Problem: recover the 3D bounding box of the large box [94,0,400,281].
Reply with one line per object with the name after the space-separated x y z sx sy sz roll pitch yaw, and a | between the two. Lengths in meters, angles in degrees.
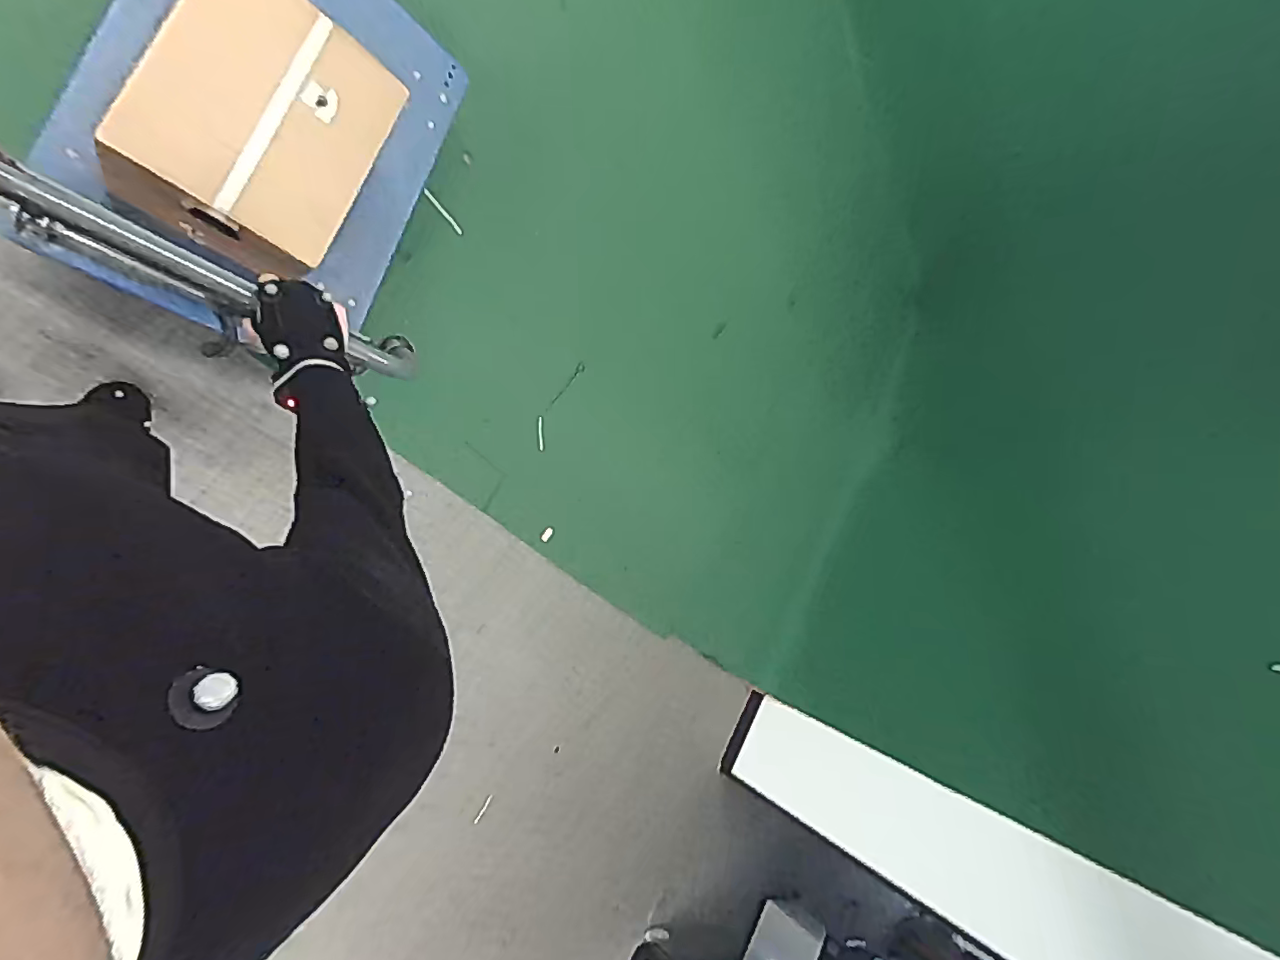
-0.727 -0.653 1.022 0.320 0.320 0.408 29 78 -42 | large box
